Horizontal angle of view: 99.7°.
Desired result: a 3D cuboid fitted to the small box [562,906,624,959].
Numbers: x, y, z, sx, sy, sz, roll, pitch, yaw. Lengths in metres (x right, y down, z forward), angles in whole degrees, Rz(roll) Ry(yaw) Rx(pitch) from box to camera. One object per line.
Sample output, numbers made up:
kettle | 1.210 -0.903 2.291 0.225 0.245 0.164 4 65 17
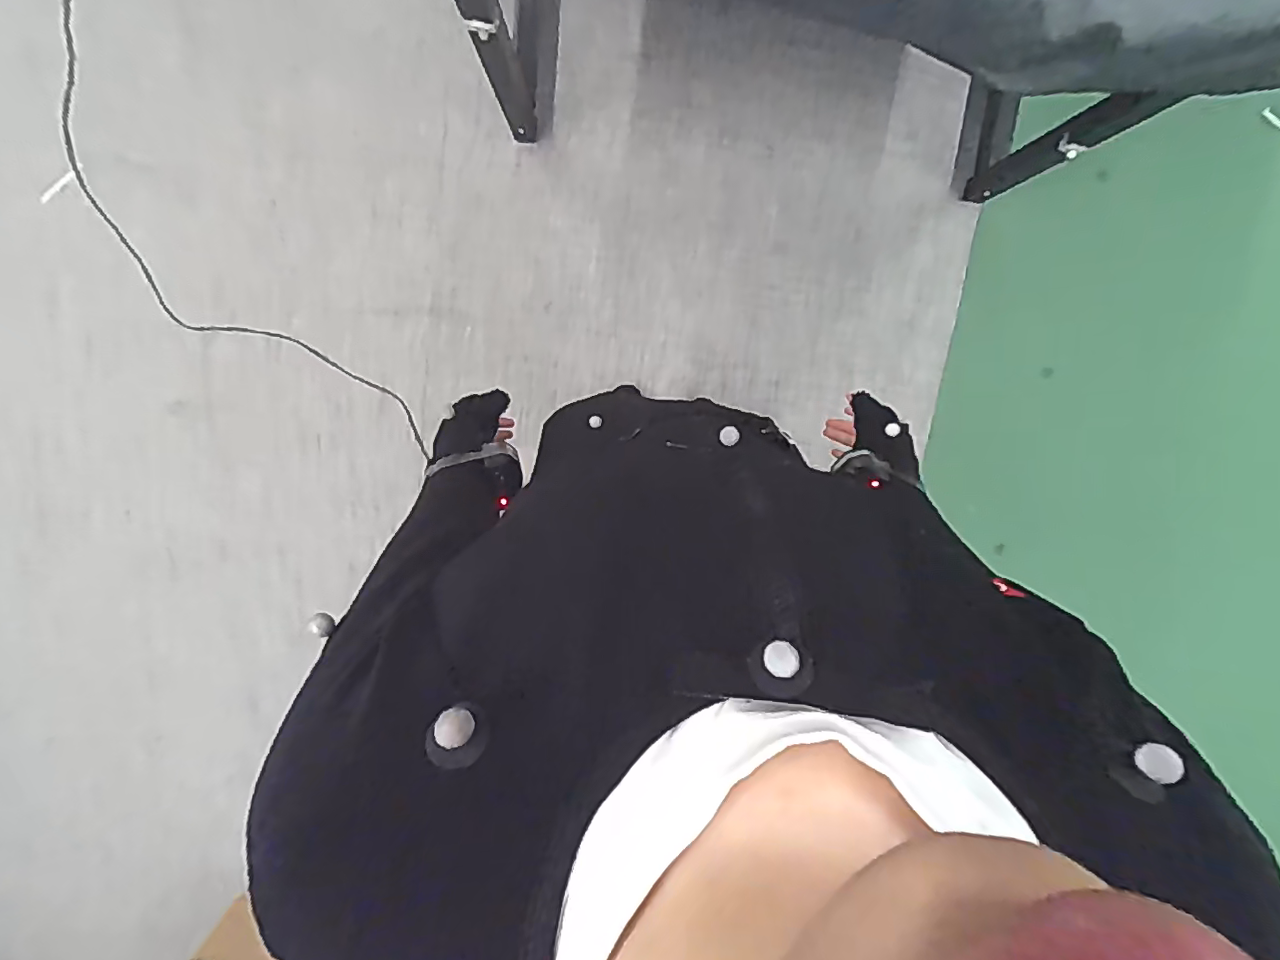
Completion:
small box | -0.137 1.391 1.579 0.179 0.176 0.168 2 99 -1
